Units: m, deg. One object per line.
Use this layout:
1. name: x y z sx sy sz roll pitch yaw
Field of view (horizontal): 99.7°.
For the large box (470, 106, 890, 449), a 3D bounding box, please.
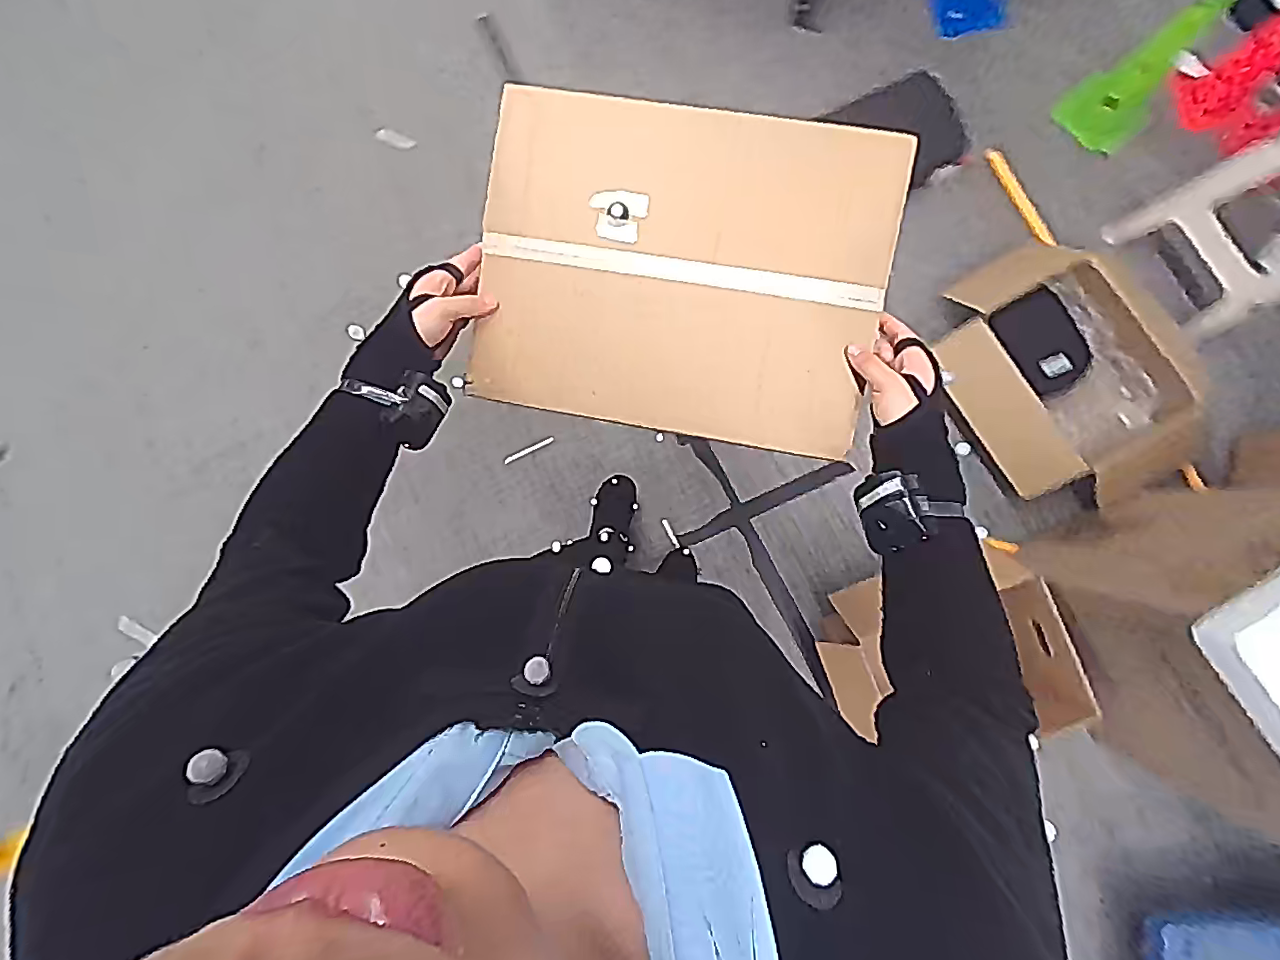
1. large box: 0.046 -0.223 0.702 0.408 0.320 0.320 9 96 5
